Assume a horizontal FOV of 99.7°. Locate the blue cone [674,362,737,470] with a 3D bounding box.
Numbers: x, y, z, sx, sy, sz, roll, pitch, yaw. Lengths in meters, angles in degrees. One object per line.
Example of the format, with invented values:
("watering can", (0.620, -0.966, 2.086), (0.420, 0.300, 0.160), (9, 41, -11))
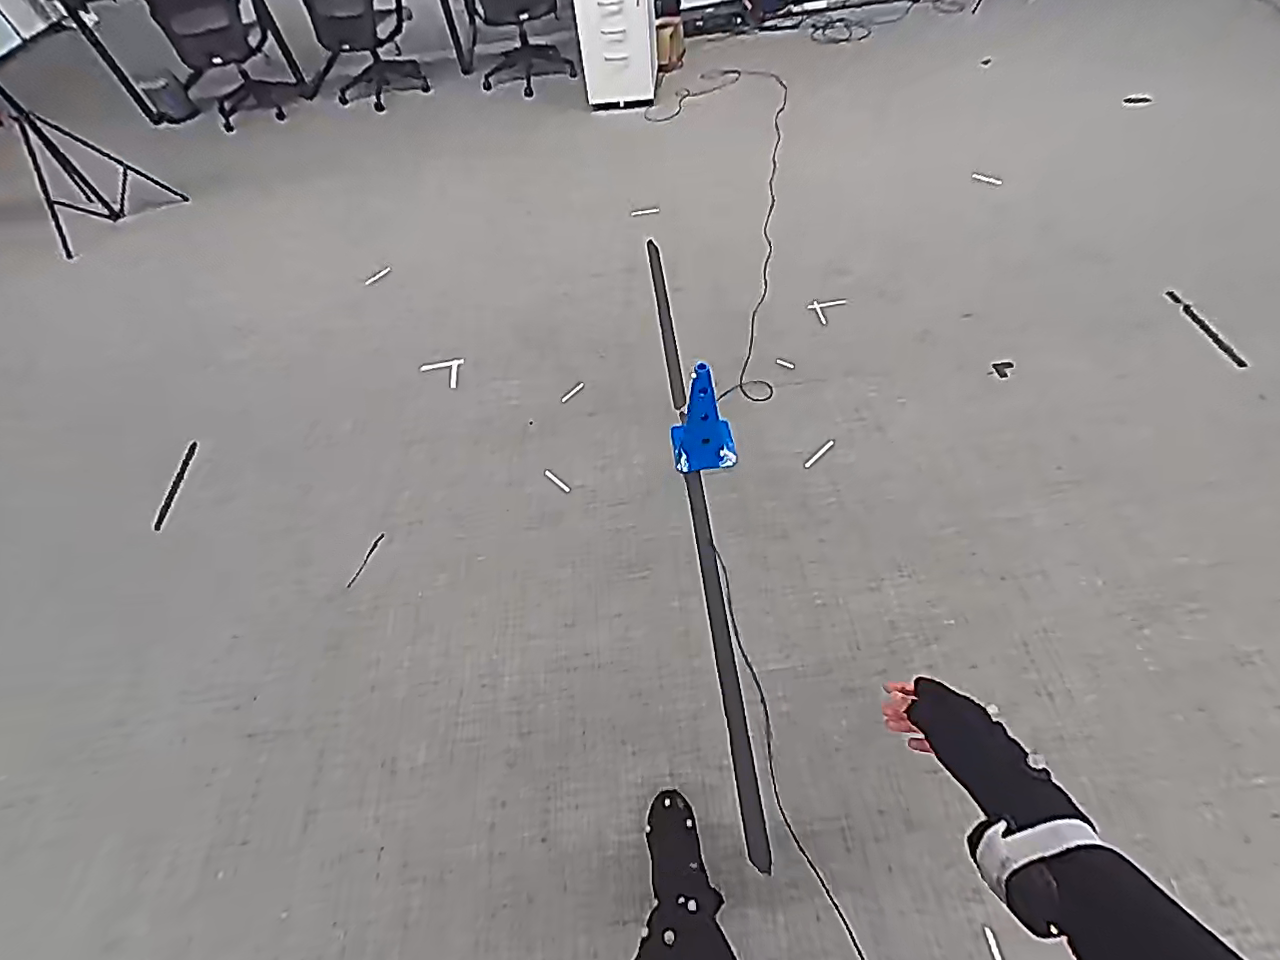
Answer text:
("blue cone", (0.198, -0.216, 1.656), (0.193, 0.380, 0.192), (-9, 54, 0))
